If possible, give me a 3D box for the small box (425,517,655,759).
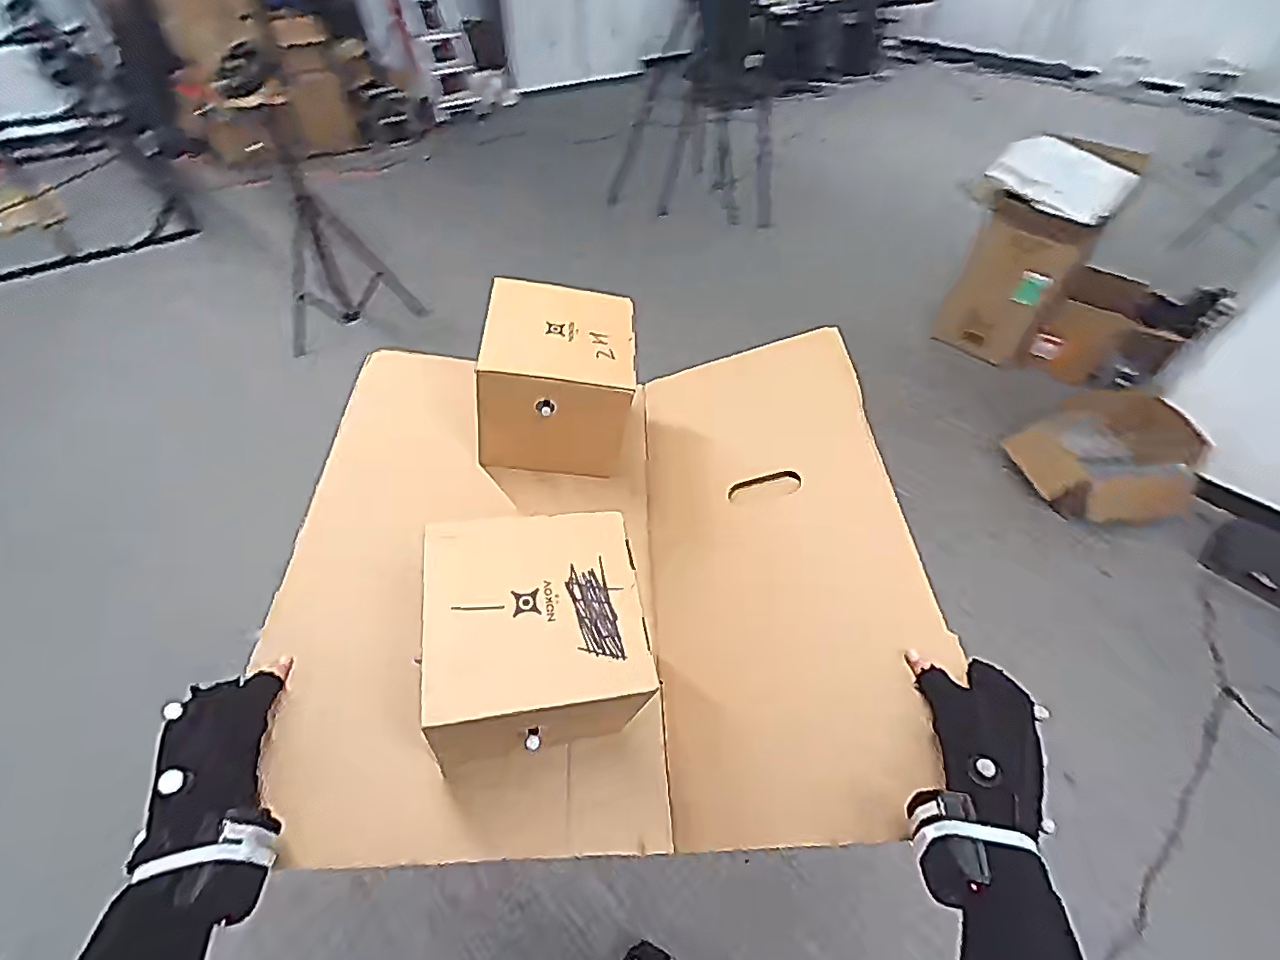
[{"bbox_3d":[-0.103,0.150,0.512,0.179,0.176,0.168,-3,56,-17],"label":"small box"}]

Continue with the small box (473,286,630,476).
[{"bbox_3d":[-0.115,-0.121,0.705,0.179,0.176,0.168,6,54,-12],"label":"small box"}]
